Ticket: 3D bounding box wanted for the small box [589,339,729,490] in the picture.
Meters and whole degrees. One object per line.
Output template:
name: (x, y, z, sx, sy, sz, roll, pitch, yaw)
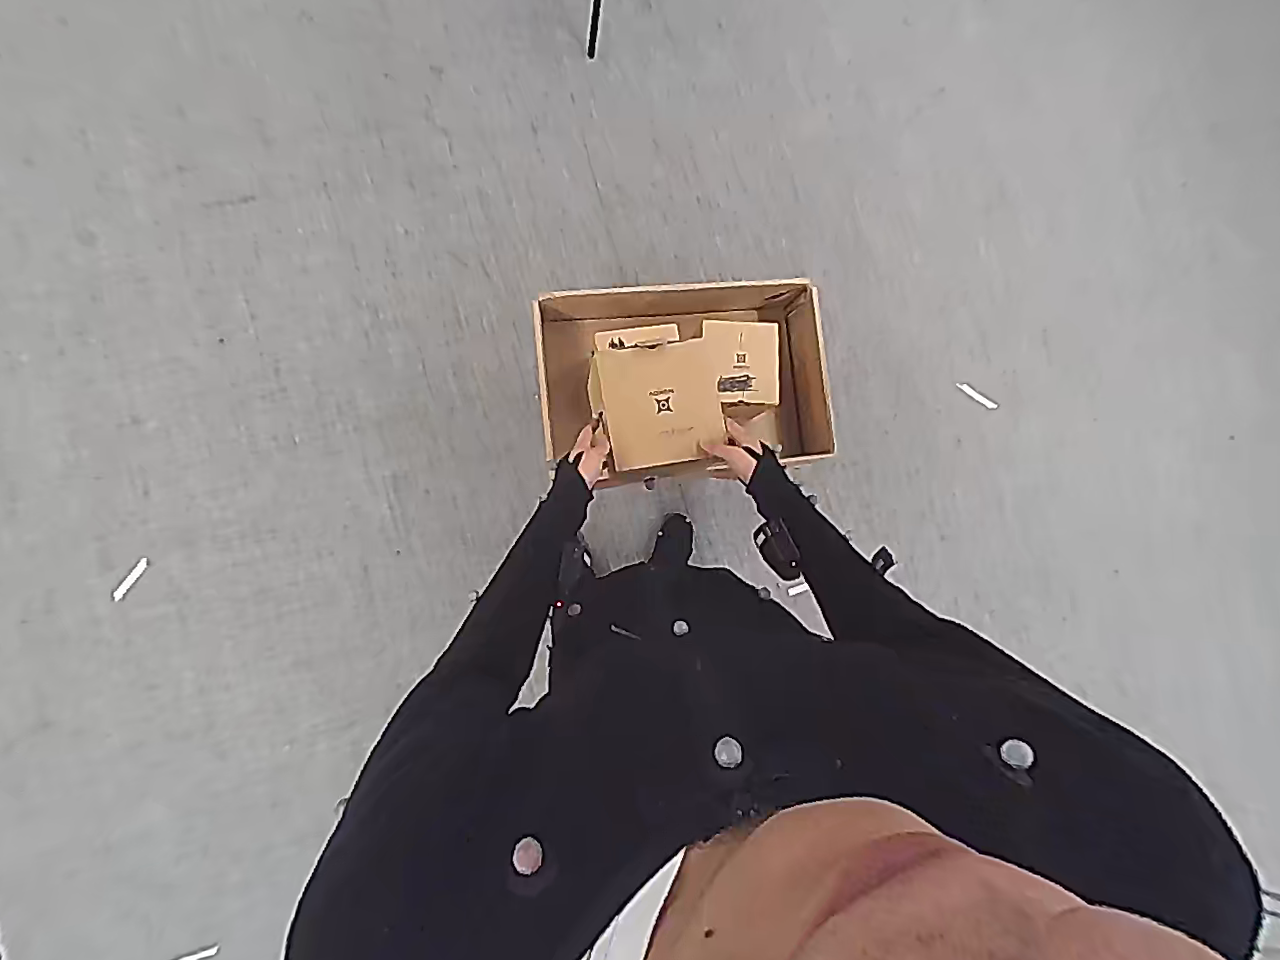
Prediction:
small box: (0.019, -0.092, 0.827, 0.168, 0.176, 0.179, -10, 83, -9)
